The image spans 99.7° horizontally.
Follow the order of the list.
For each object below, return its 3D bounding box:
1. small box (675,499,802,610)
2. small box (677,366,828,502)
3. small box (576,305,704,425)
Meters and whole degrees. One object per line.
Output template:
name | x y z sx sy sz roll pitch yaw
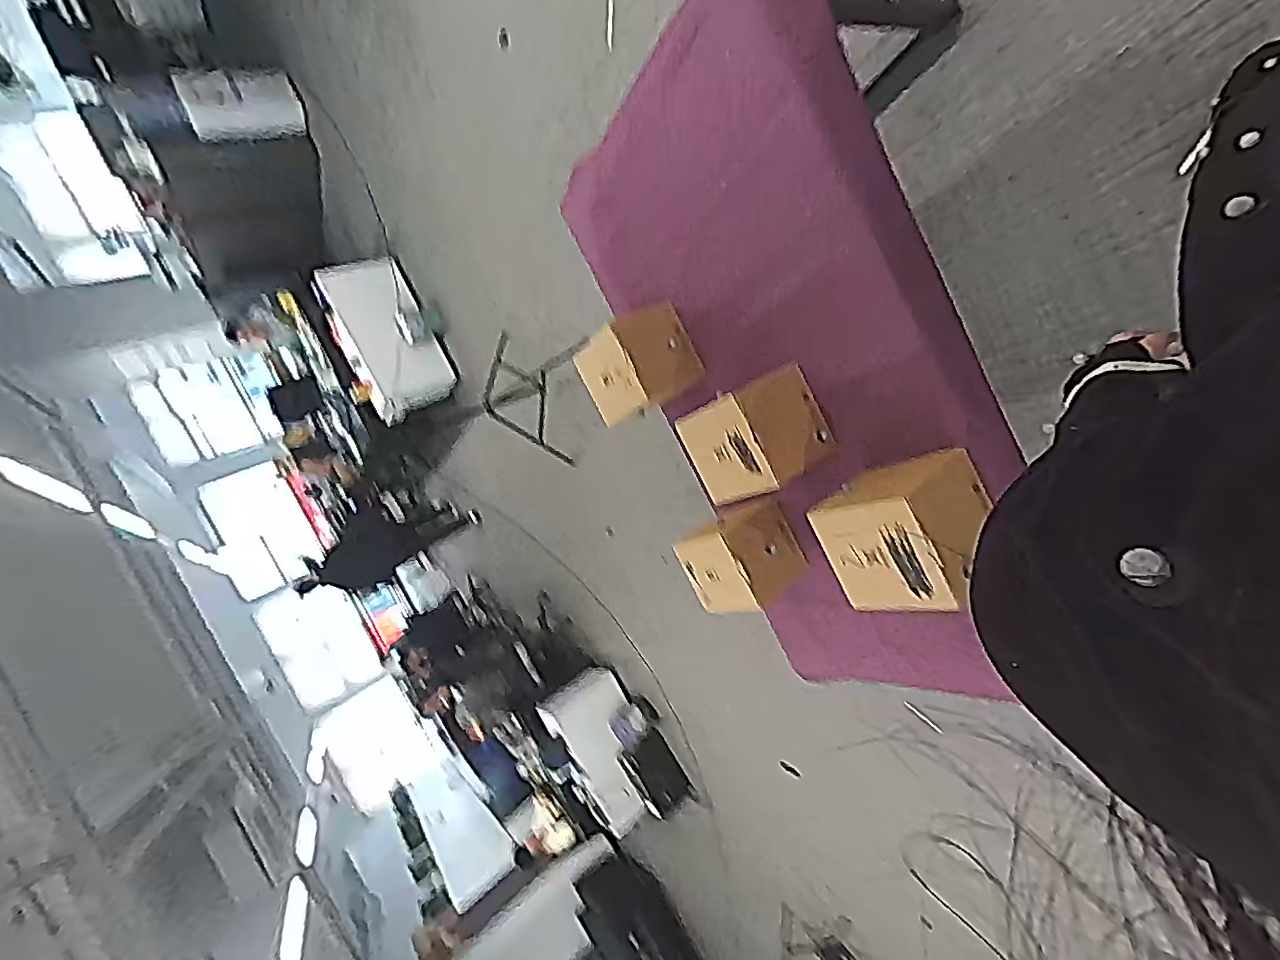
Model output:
small box | 0.213 0.156 1.132 0.179 0.176 0.168 -25 93 56
small box | 0.205 -0.082 0.960 0.179 0.176 0.168 -23 95 59
small box | 0.000 -0.238 1.126 0.179 0.176 0.168 -24 95 57
